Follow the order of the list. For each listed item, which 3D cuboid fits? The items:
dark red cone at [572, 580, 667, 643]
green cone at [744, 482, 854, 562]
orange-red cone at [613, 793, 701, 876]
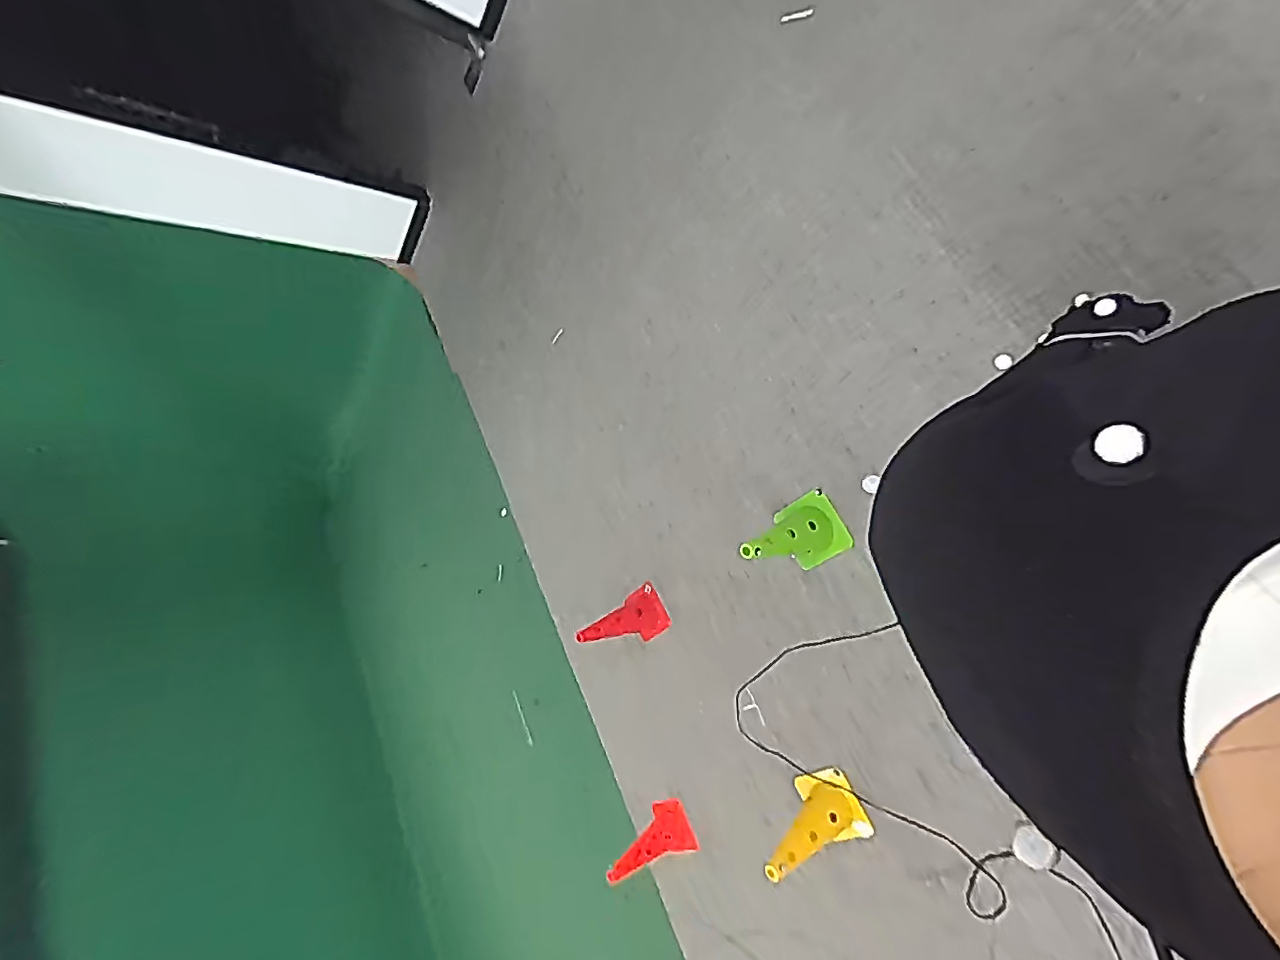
[{"bbox_3d":[-0.098,0.547,2.093,0.201,0.394,0.202,-49,63,40],"label":"dark red cone"},{"bbox_3d":[0.409,0.153,1.540,0.200,0.368,0.202,-43,67,41],"label":"green cone"},{"bbox_3d":[0.037,1.429,2.129,0.199,0.360,0.198,-40,69,41],"label":"orange-red cone"}]
